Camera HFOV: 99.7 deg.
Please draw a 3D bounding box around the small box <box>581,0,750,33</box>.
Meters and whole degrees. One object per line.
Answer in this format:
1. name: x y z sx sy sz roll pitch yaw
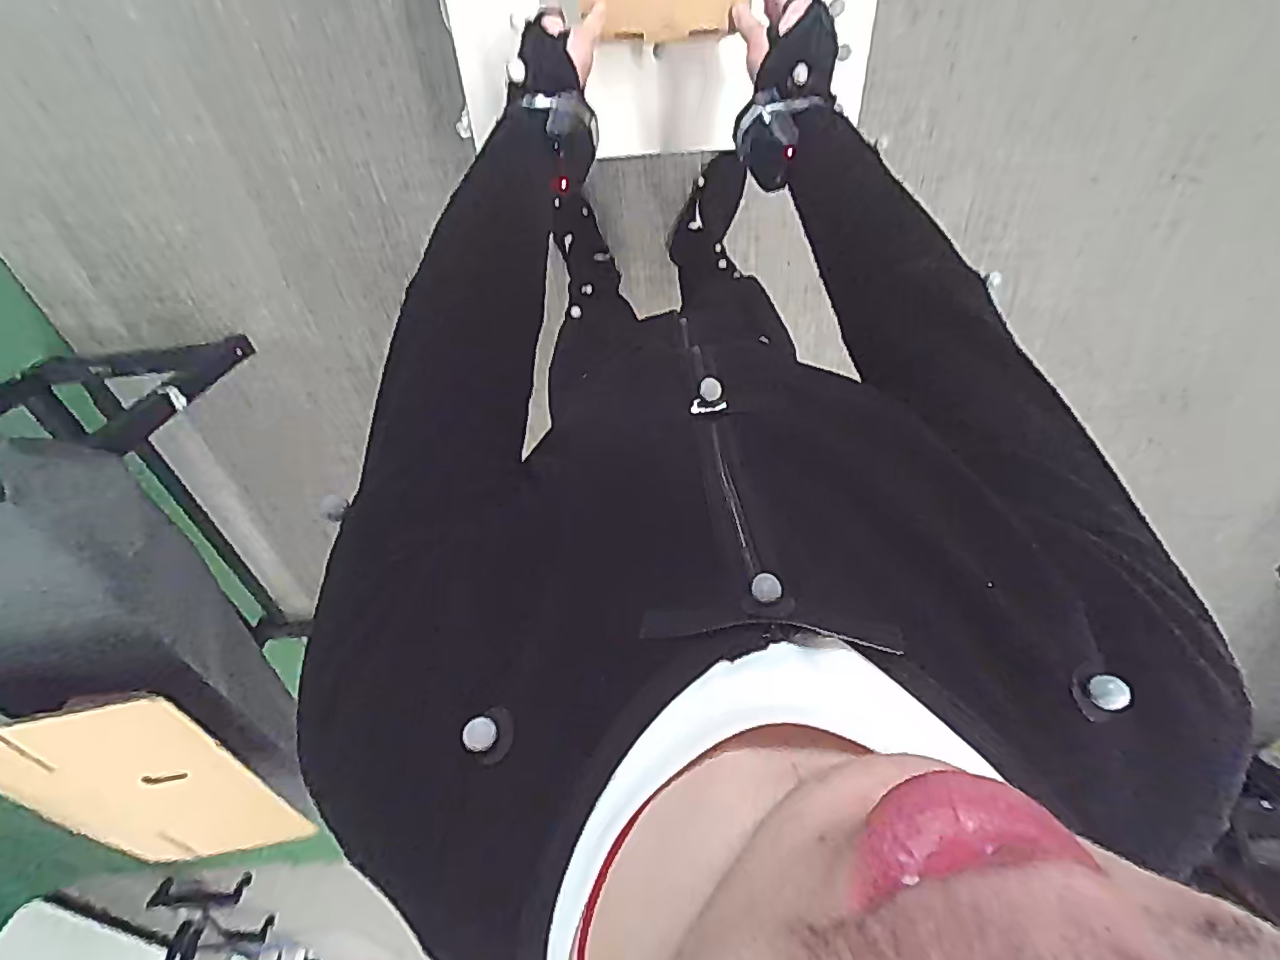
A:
1. small box: 0.020 -0.565 0.540 0.168 0.176 0.179 -4 127 1
